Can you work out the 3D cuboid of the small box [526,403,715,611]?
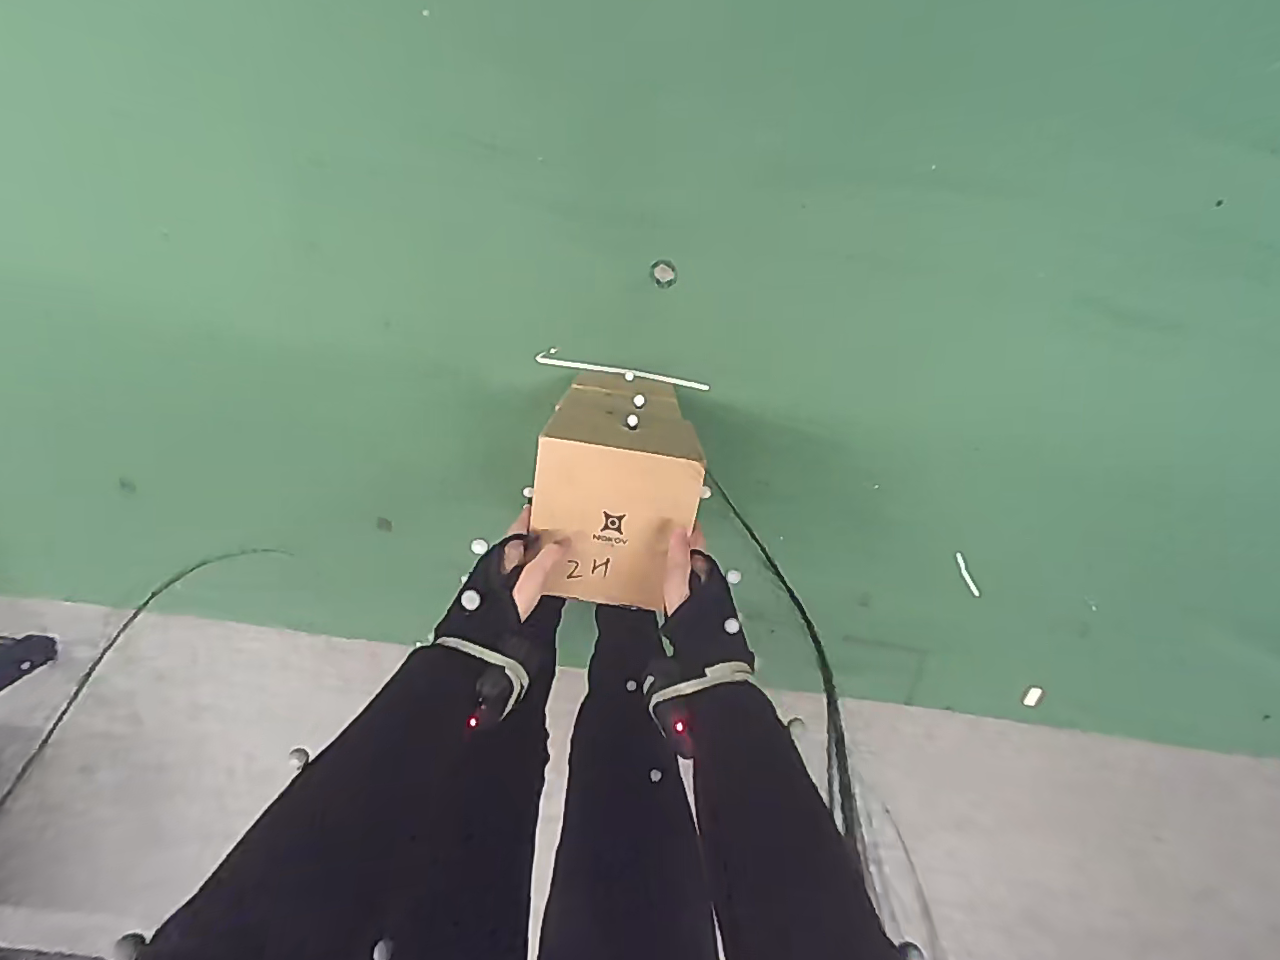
[{"bbox_3d":[-0.024,0.020,0.618,0.168,0.176,0.179,10,108,-4],"label":"small box"}]

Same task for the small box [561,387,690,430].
[{"bbox_3d":[-0.033,-0.029,0.776,0.168,0.176,0.179,9,108,-4],"label":"small box"}]
